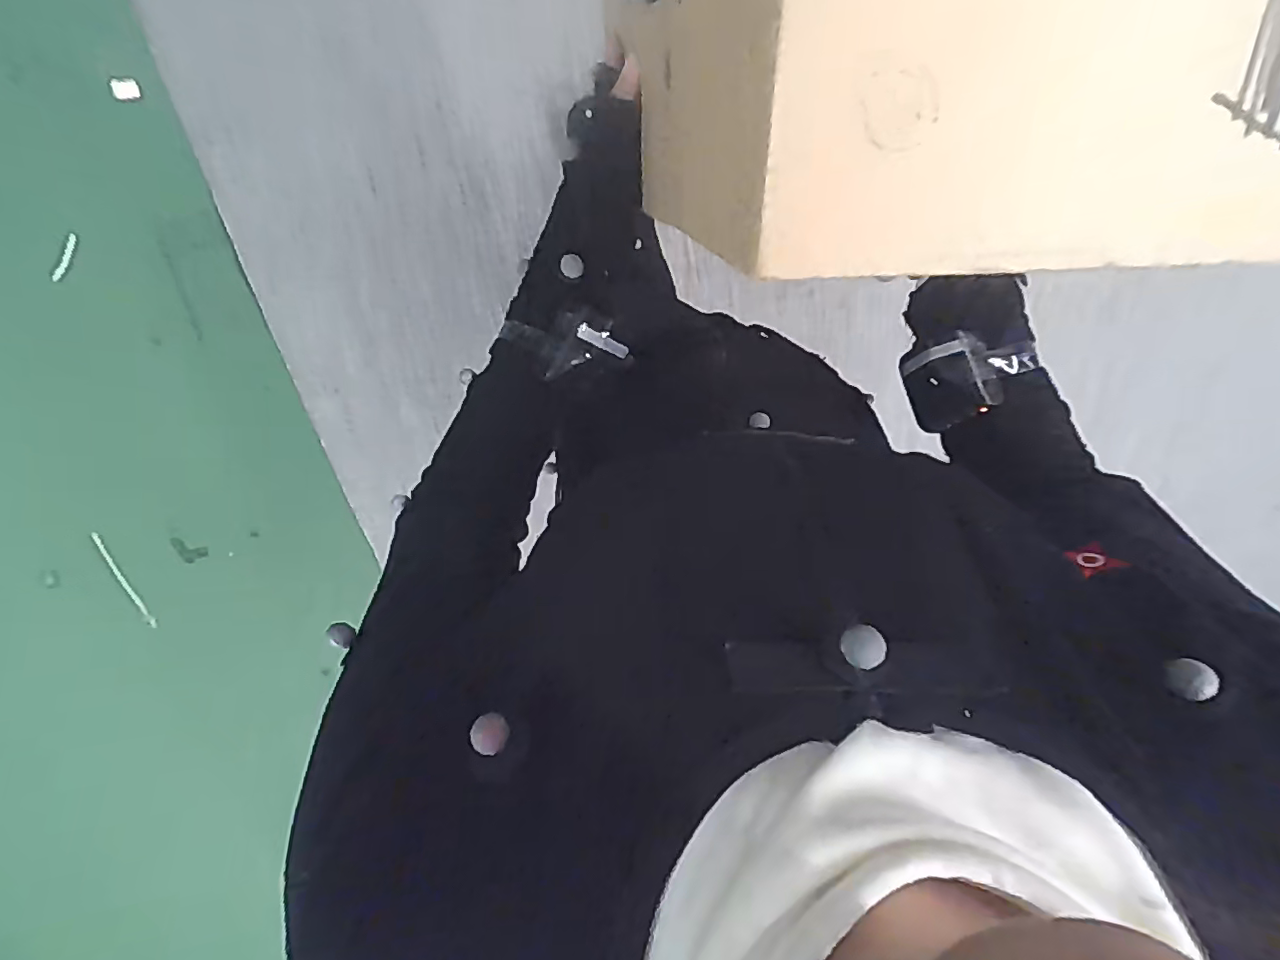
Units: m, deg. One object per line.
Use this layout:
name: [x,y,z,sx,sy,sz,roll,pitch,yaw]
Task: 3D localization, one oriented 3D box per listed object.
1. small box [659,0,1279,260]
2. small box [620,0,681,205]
small box: [0.107,-0.183,0.187,0.179,0.176,0.168,-8,122,-5]
small box: [0.085,-0.266,0.326,0.179,0.176,0.168,-6,120,-5]
